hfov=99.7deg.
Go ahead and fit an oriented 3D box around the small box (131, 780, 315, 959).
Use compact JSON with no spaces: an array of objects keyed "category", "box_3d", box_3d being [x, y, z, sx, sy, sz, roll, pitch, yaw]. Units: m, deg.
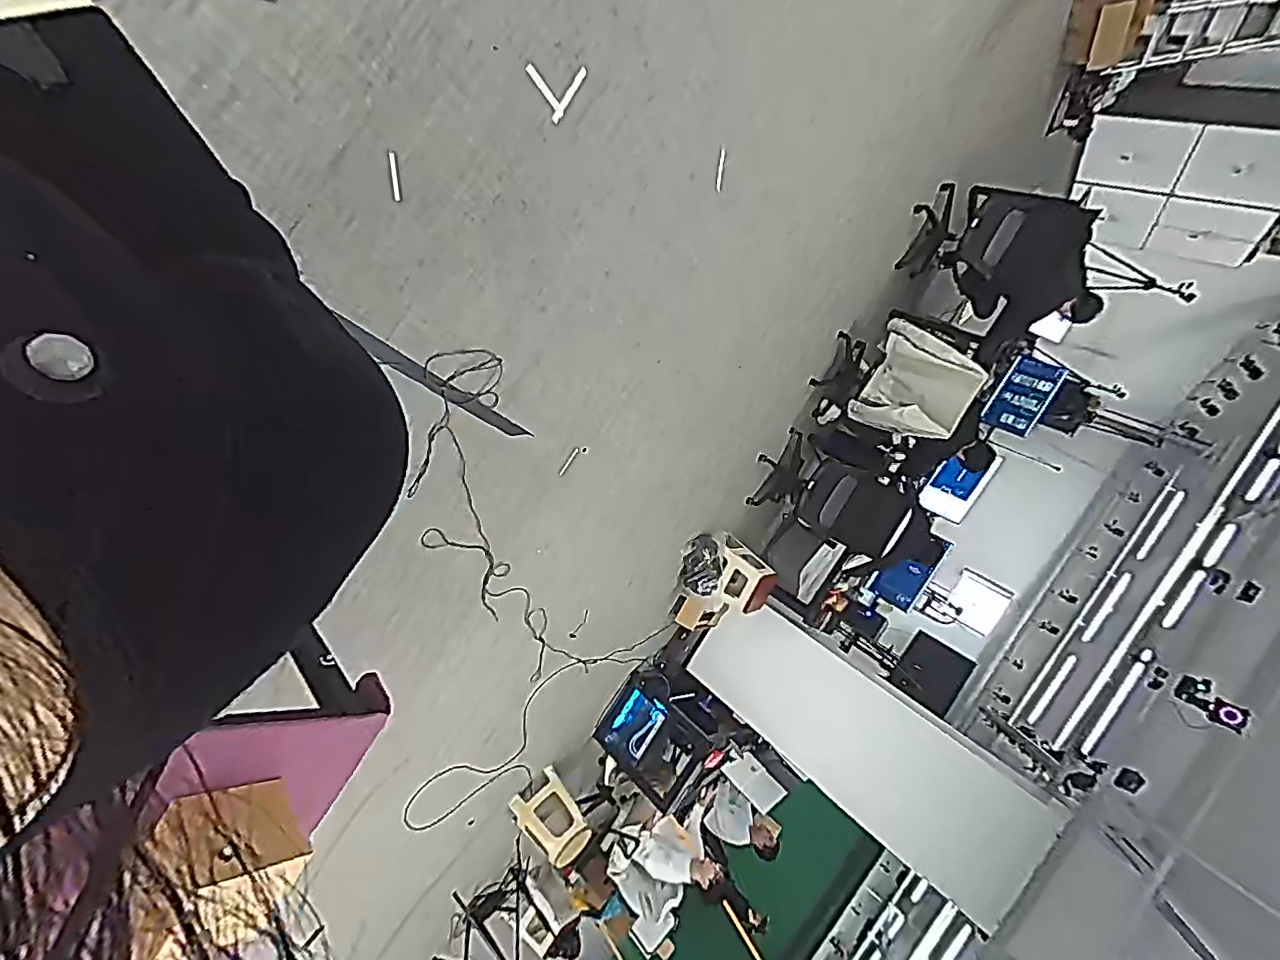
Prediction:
[{"category":"small box","box_3d":[-0.697,0.642,0.903,0.168,0.176,0.179,-57,148,3]}]
